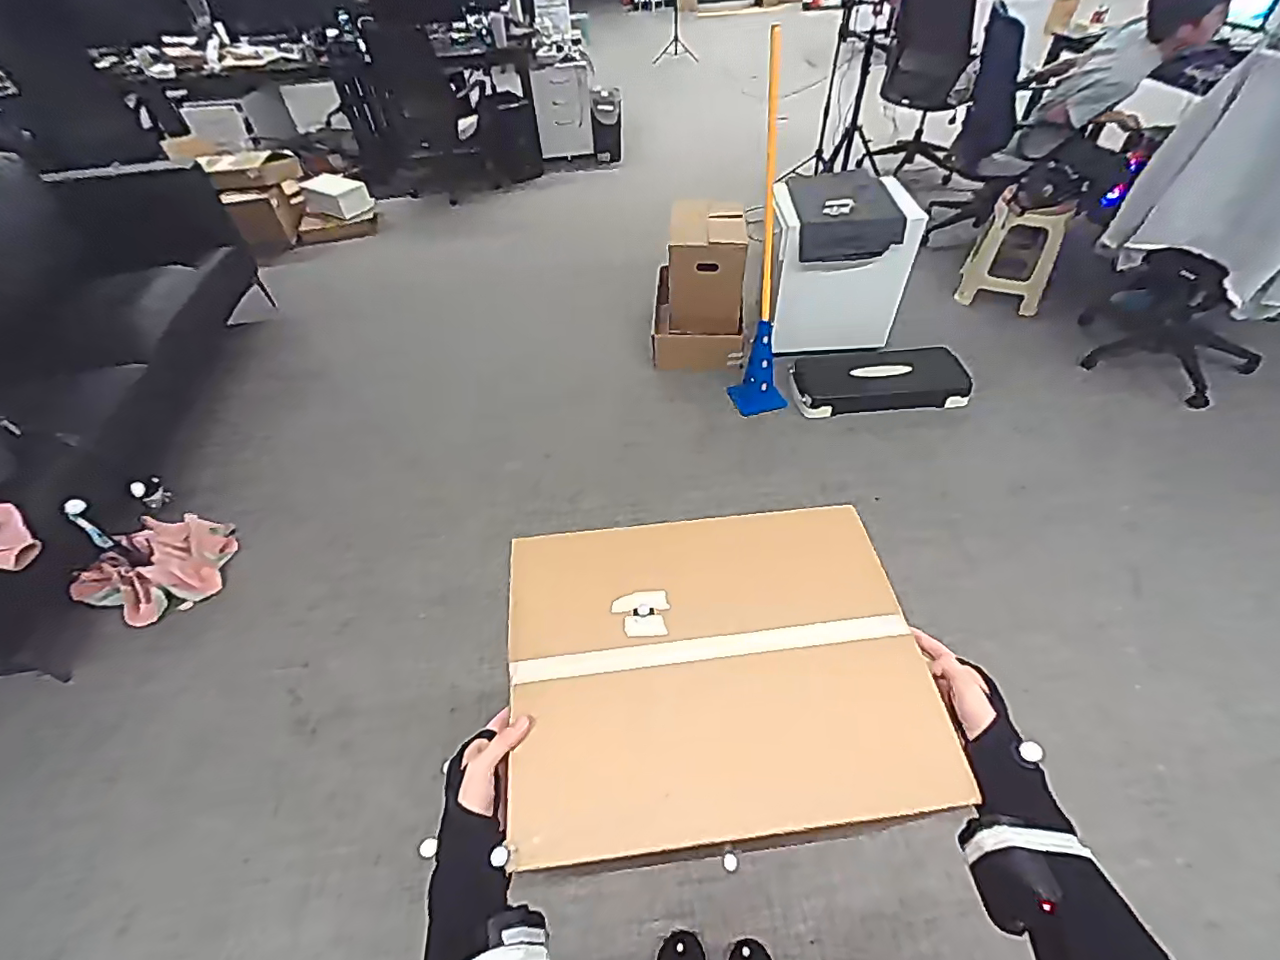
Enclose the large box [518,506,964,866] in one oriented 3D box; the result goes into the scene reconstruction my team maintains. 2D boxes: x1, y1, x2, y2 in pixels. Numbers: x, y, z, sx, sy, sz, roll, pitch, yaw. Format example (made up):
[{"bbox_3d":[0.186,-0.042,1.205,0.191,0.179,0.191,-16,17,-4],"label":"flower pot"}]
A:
[{"bbox_3d":[0.080,0.264,0.673,0.408,0.320,0.320,-6,53,-3],"label":"large box"}]
